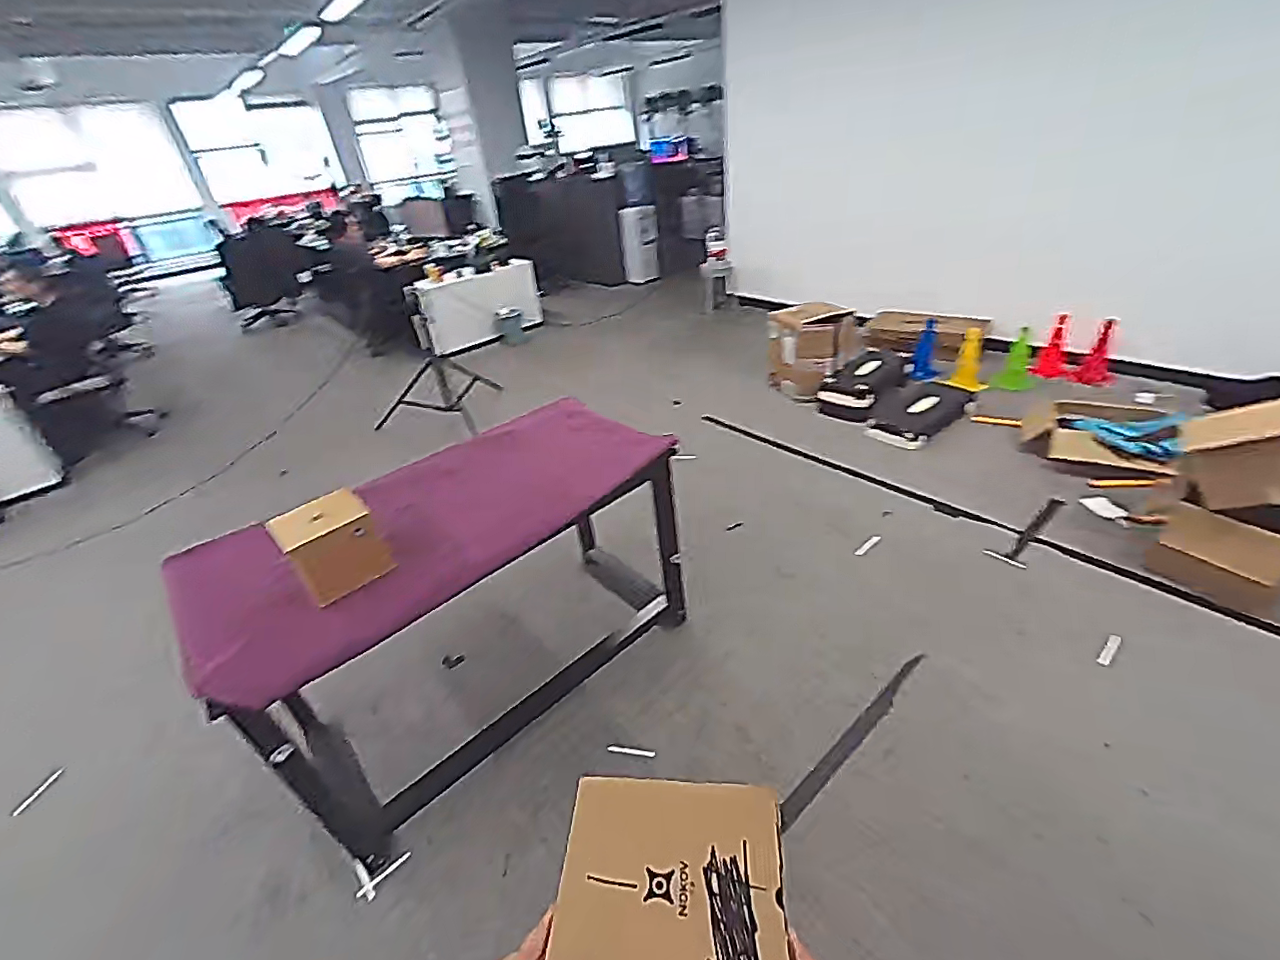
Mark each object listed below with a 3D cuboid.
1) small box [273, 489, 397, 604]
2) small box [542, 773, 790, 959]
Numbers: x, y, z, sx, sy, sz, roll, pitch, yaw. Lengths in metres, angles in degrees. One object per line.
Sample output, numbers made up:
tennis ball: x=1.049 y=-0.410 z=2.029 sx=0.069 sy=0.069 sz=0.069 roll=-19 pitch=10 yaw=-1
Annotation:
small box: x=-0.695 y=0.152 z=1.243 sx=0.179 sy=0.176 sz=0.168 roll=-32 pitch=40 yaw=-34
small box: x=0.028 y=0.379 z=0.459 sx=0.179 sy=0.176 sz=0.168 roll=-2 pitch=32 yaw=8
